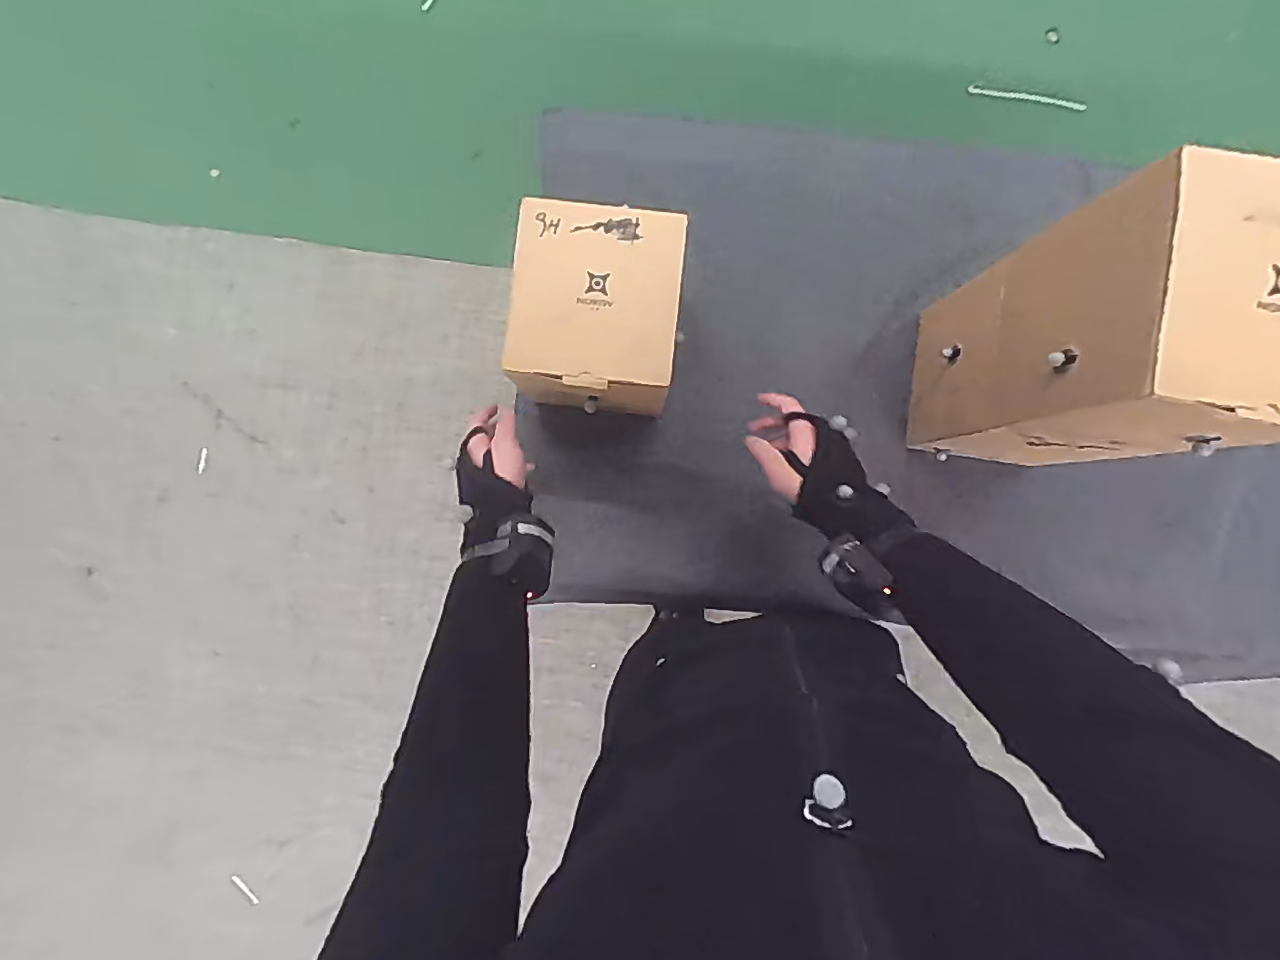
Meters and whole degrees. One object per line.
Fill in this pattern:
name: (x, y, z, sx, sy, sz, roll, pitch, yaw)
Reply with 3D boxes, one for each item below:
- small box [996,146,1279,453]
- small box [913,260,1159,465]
small box: (0.425, -0.121, 0.436, 0.168, 0.176, 0.179, 8, 87, -1)
small box: (0.427, -0.114, 0.598, 0.168, 0.176, 0.179, 8, 88, 0)
